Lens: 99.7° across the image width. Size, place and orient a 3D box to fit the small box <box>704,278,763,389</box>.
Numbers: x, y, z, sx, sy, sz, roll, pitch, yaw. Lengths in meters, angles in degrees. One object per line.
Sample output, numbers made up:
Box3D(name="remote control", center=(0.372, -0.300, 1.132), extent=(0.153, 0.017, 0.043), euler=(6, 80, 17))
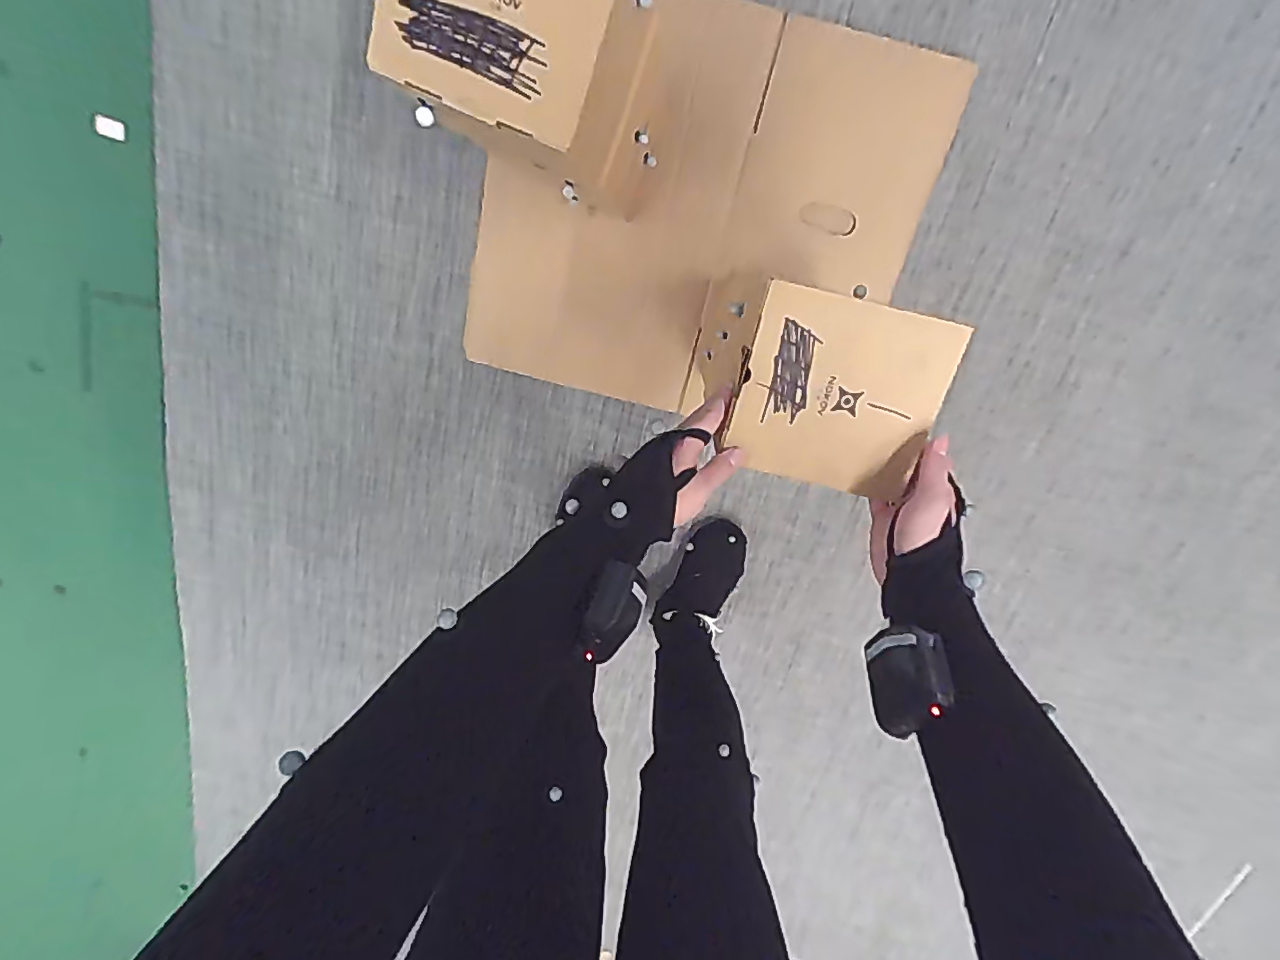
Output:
Box3D(name="small box", center=(0.206, -0.210, 0.855), extent=(0.179, 0.176, 0.168), euler=(15, 109, -1))

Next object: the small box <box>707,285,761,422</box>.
Box3D(name="small box", center=(0.194, -0.151, 0.705), extent=(0.179, 0.176, 0.168), euler=(15, 110, 0))

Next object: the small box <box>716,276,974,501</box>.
Box3D(name="small box", center=(0.182, -0.099, 0.549), extent=(0.179, 0.176, 0.168), euler=(13, 110, -1))

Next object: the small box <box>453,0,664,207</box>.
Box3D(name="small box", center=(-0.081, -0.433, 0.619), extent=(0.179, 0.176, 0.168), euler=(21, 108, -4))

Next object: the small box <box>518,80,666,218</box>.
Box3D(name="small box", center=(-0.073, -0.493, 0.773), extent=(0.179, 0.176, 0.168), euler=(22, 108, -5))
